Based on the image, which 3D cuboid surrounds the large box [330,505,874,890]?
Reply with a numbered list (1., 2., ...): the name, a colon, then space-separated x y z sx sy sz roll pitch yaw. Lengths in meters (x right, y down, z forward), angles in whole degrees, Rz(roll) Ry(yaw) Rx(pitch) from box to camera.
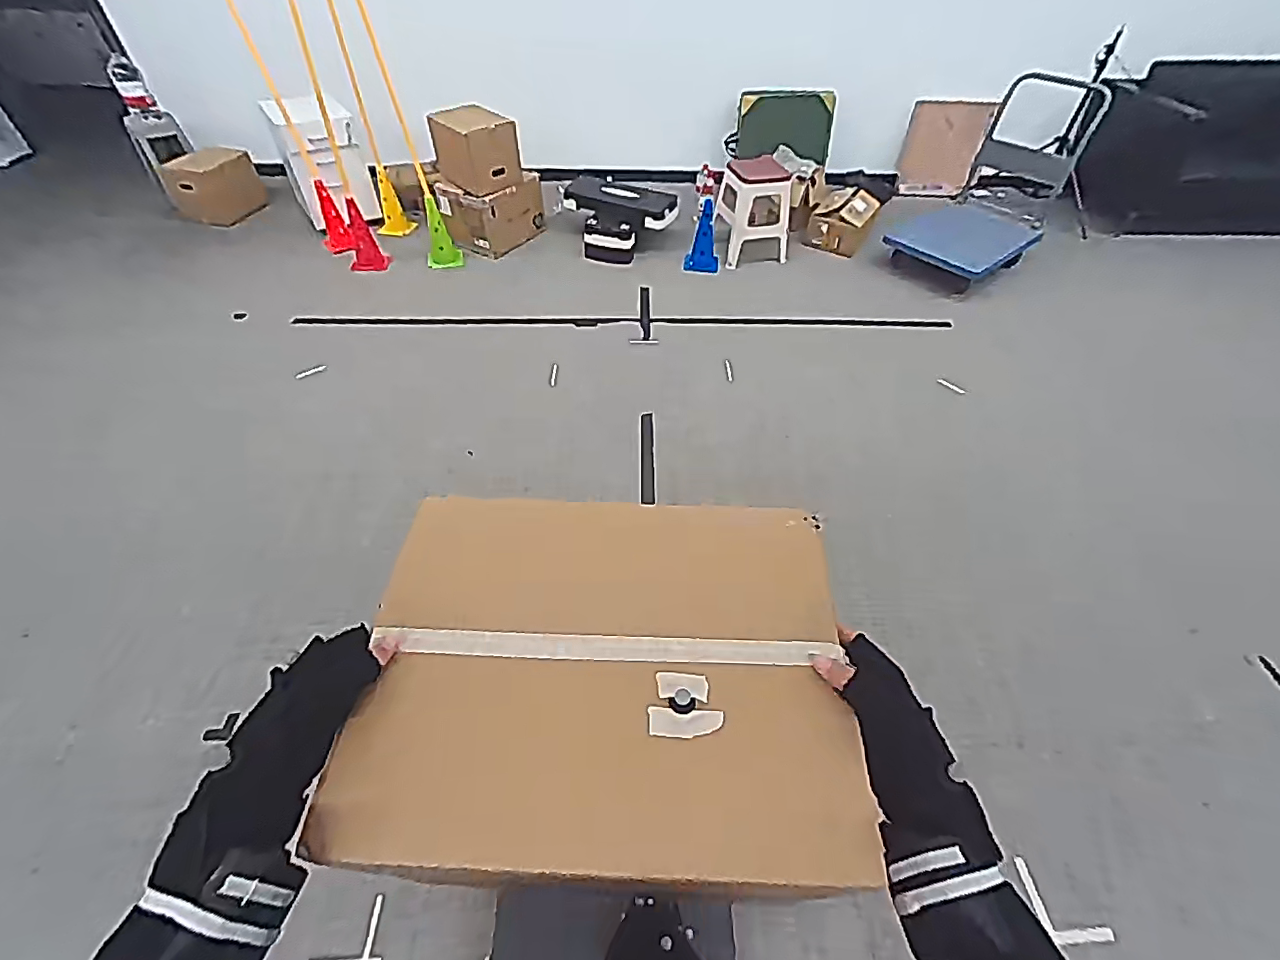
1. large box: -0.027 0.245 0.596 0.408 0.320 0.320 2 51 1
